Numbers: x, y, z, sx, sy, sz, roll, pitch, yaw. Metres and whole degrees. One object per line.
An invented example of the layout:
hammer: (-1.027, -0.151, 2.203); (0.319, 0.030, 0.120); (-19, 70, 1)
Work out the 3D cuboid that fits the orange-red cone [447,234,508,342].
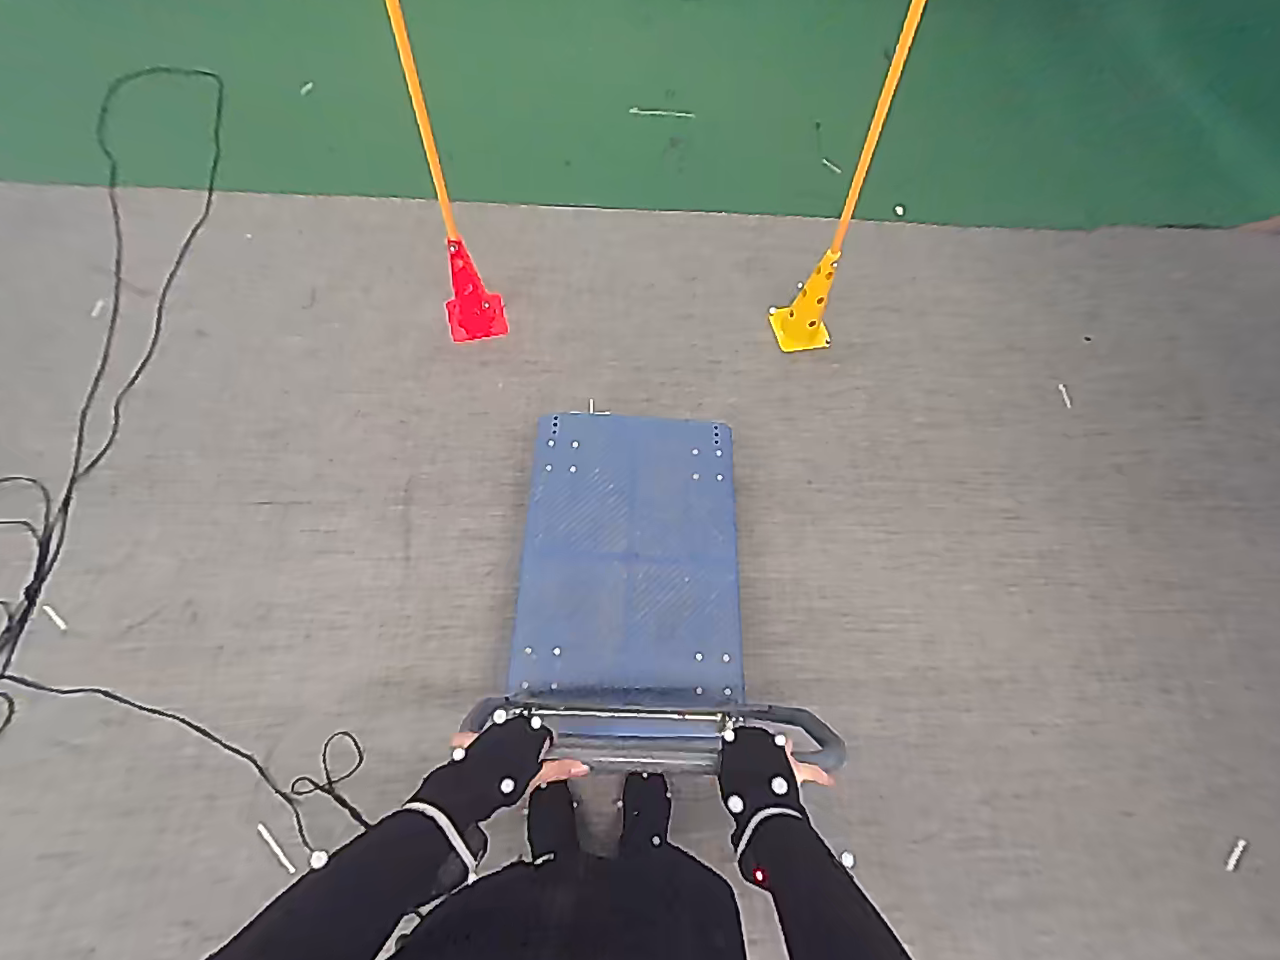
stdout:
orange-red cone: (-0.577, -0.656, 1.793); (0.199, 0.360, 0.198); (-13, 66, -8)
